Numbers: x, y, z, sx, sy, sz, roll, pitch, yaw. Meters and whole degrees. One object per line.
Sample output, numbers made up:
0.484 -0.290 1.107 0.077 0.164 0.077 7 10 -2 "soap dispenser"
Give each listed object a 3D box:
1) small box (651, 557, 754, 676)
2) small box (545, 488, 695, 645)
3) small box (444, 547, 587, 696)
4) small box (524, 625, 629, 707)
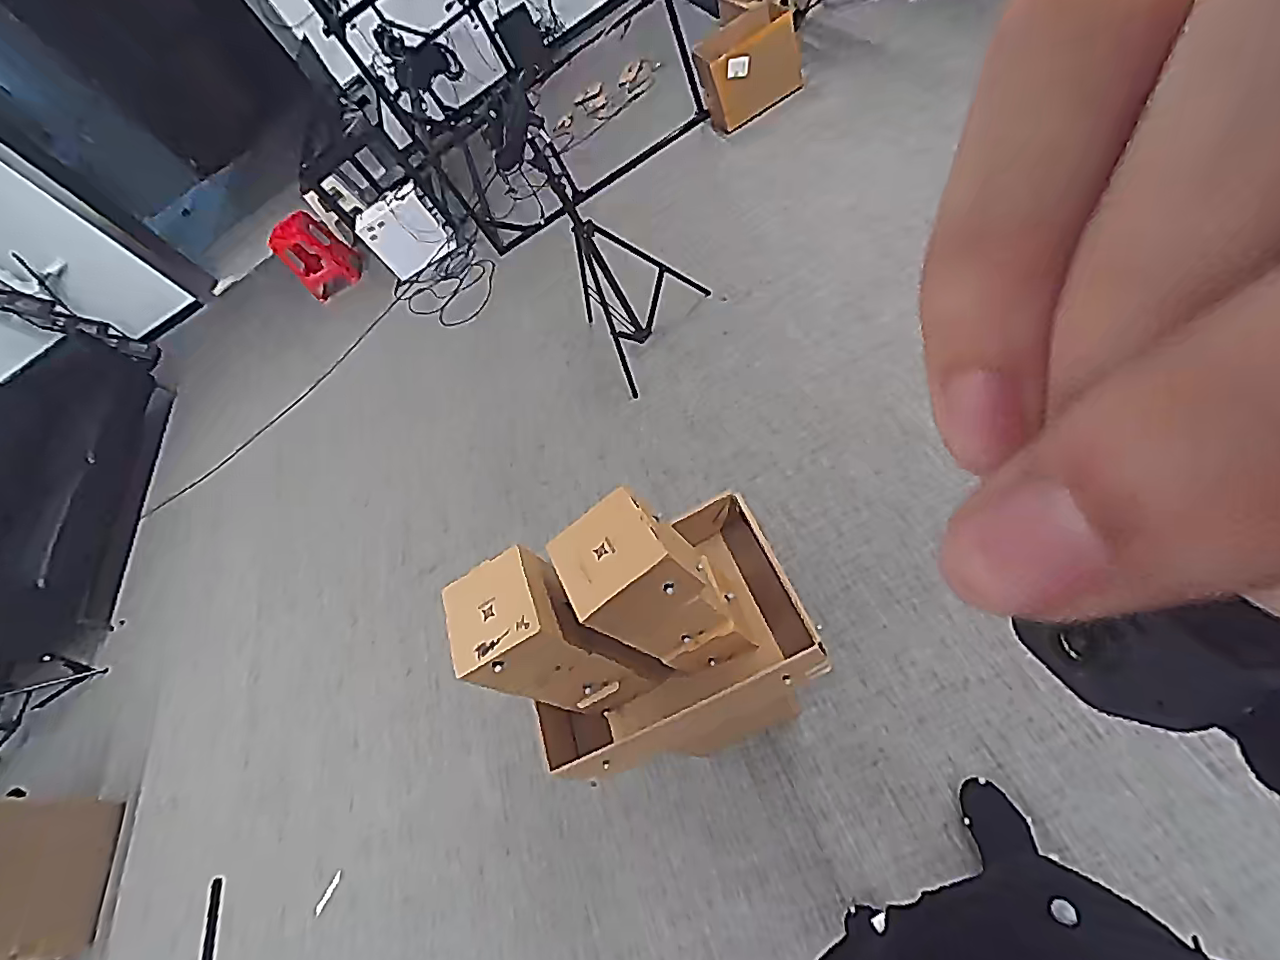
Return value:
0.125 0.301 1.172 0.168 0.176 0.179 -30 53 13 "small box"
-0.025 0.151 0.921 0.179 0.176 0.168 -39 50 4 "small box"
-0.219 0.254 0.955 0.168 0.176 0.179 -32 51 8 "small box"
-0.146 0.330 1.084 0.168 0.176 0.179 -32 52 7 "small box"
